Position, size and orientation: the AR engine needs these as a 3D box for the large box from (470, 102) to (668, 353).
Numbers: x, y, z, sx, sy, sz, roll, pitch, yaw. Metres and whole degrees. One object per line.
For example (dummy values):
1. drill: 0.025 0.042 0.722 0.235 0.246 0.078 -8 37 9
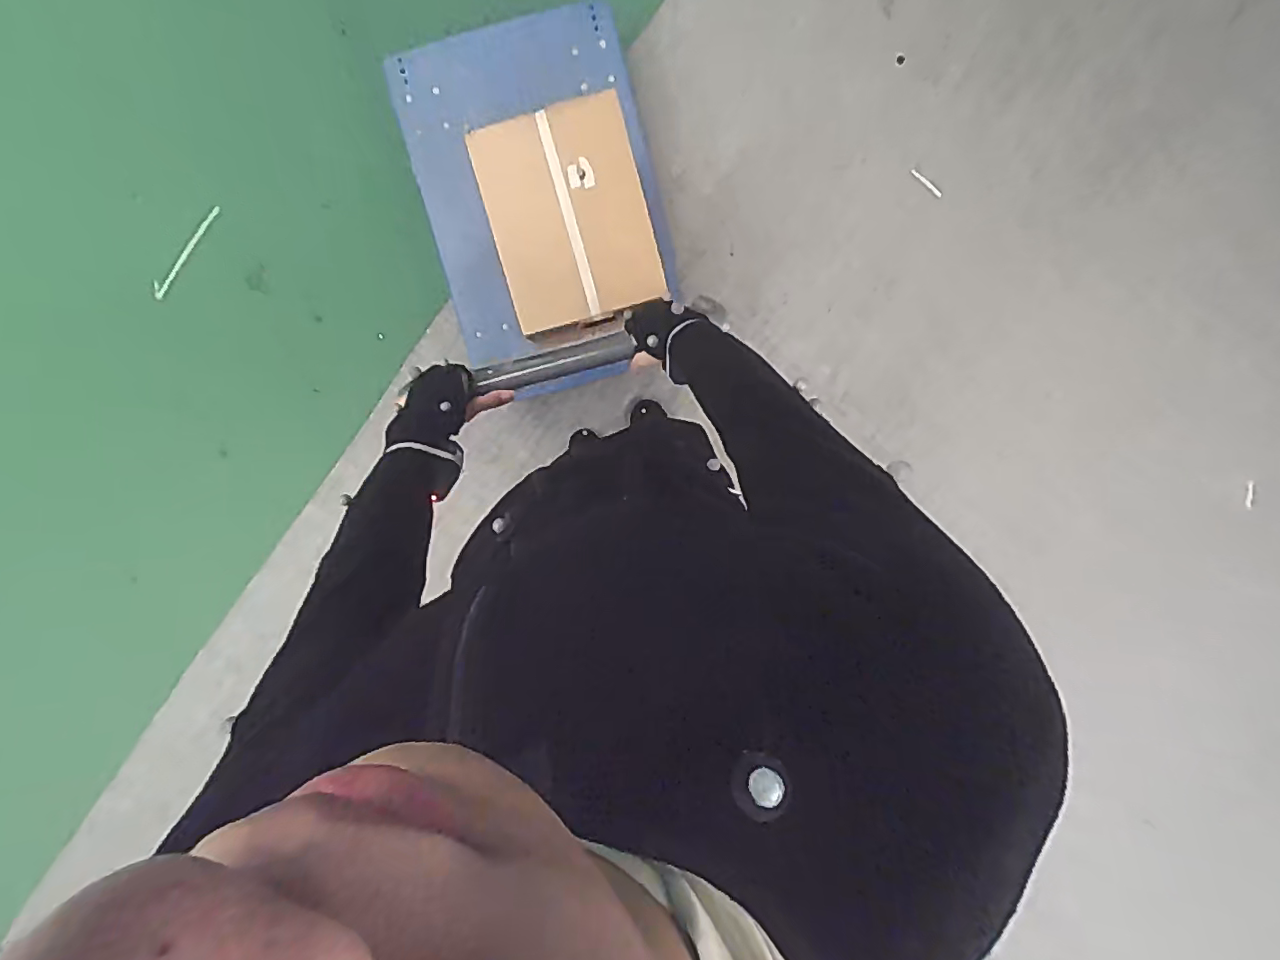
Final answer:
1. large box: -0.141 -0.543 1.251 0.320 0.320 0.408 -15 97 1
